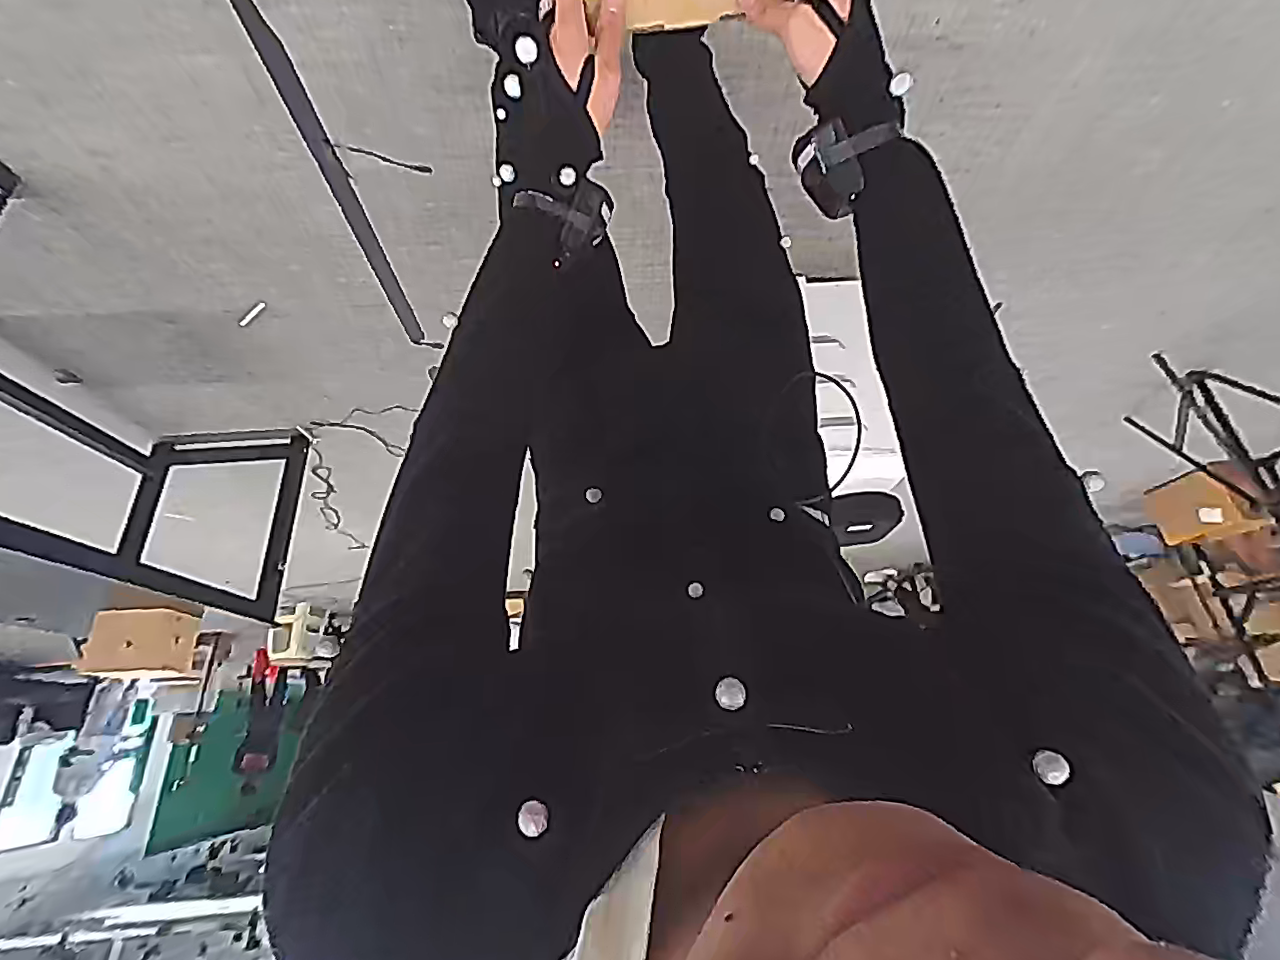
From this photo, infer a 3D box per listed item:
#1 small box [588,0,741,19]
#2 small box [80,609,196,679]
[{"bbox_3d":[0.026,-0.480,0.399,0.168,0.176,0.179,-8,142,1],"label":"small box"},{"bbox_3d":[-1.417,0.469,1.546,0.179,0.176,0.168,-2,156,-7],"label":"small box"}]
